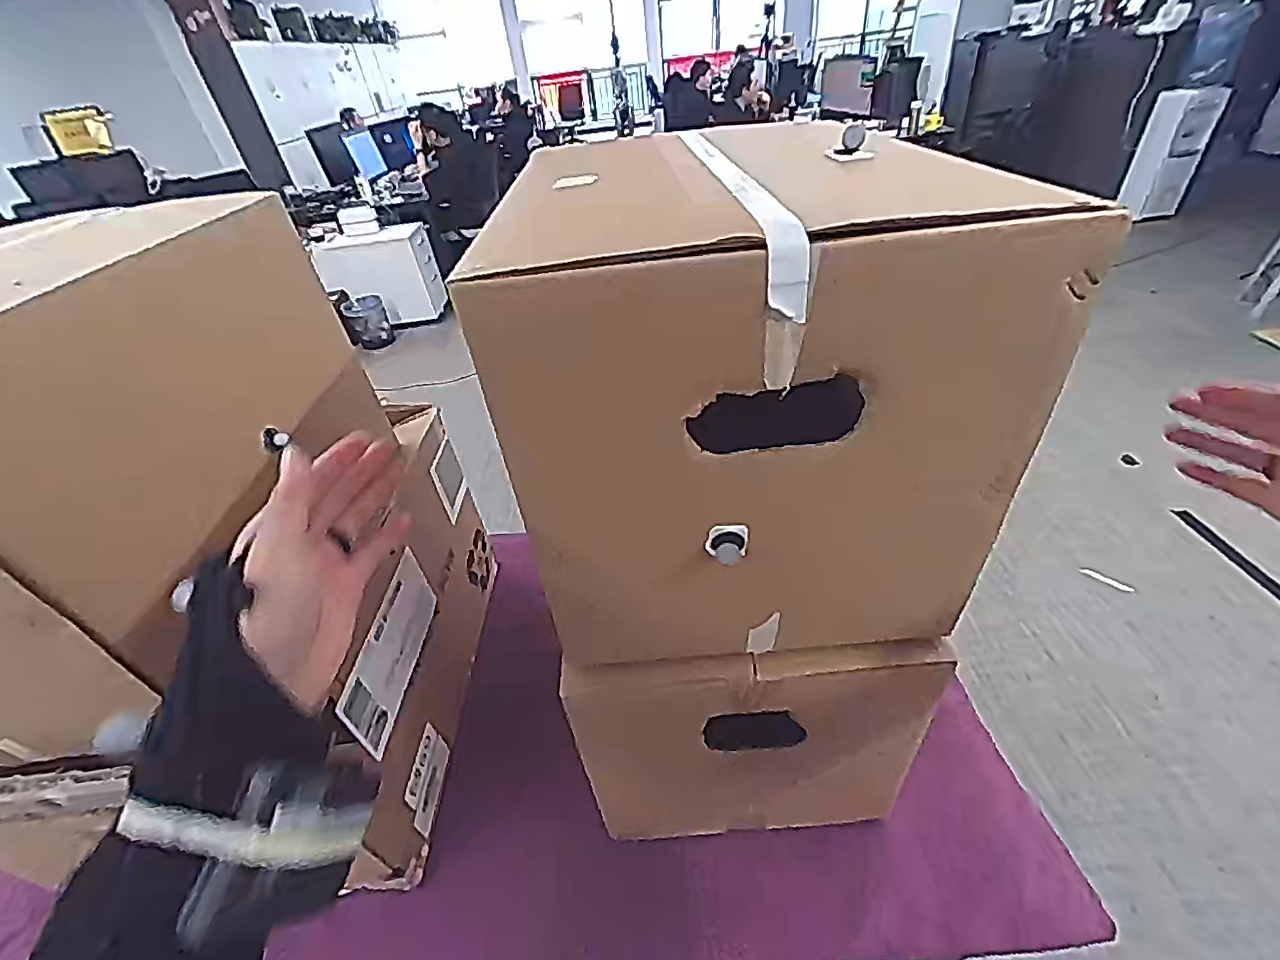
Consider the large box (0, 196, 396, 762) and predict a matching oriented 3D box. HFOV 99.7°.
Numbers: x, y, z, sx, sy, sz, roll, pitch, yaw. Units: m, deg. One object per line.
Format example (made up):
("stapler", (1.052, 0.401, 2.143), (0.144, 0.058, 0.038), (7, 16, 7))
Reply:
("large box", (-0.473, -0.025, 0.481), (0.320, 0.320, 0.408), (-8, 39, 3))
